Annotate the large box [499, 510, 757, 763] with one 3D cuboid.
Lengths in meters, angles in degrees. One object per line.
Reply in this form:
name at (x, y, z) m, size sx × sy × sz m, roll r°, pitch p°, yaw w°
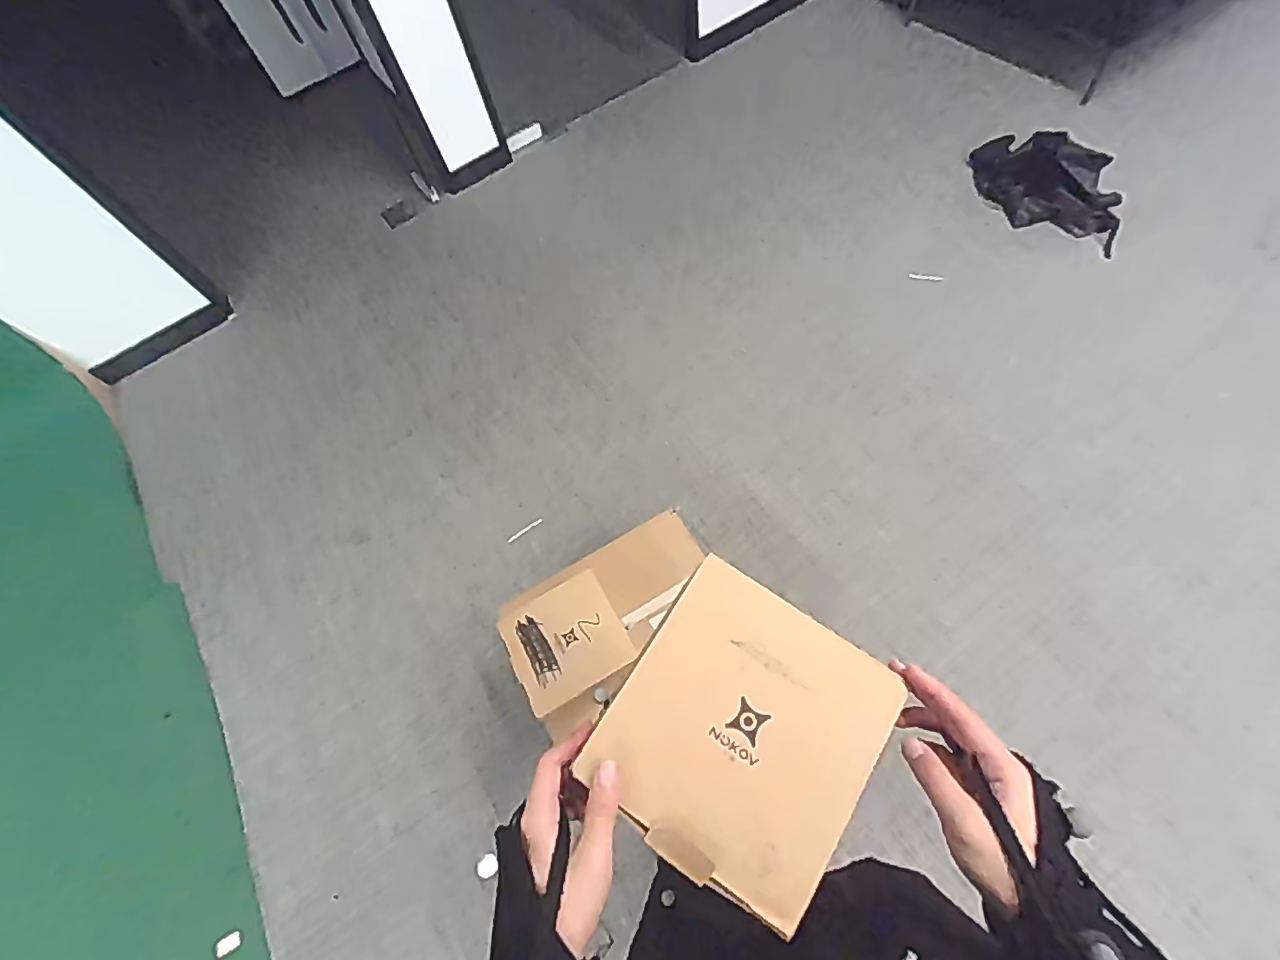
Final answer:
large box at (-0.015, 0.338, 1.135) m, size 0.408 × 0.320 × 0.320 m, roll -29°, pitch 64°, yaw -8°
